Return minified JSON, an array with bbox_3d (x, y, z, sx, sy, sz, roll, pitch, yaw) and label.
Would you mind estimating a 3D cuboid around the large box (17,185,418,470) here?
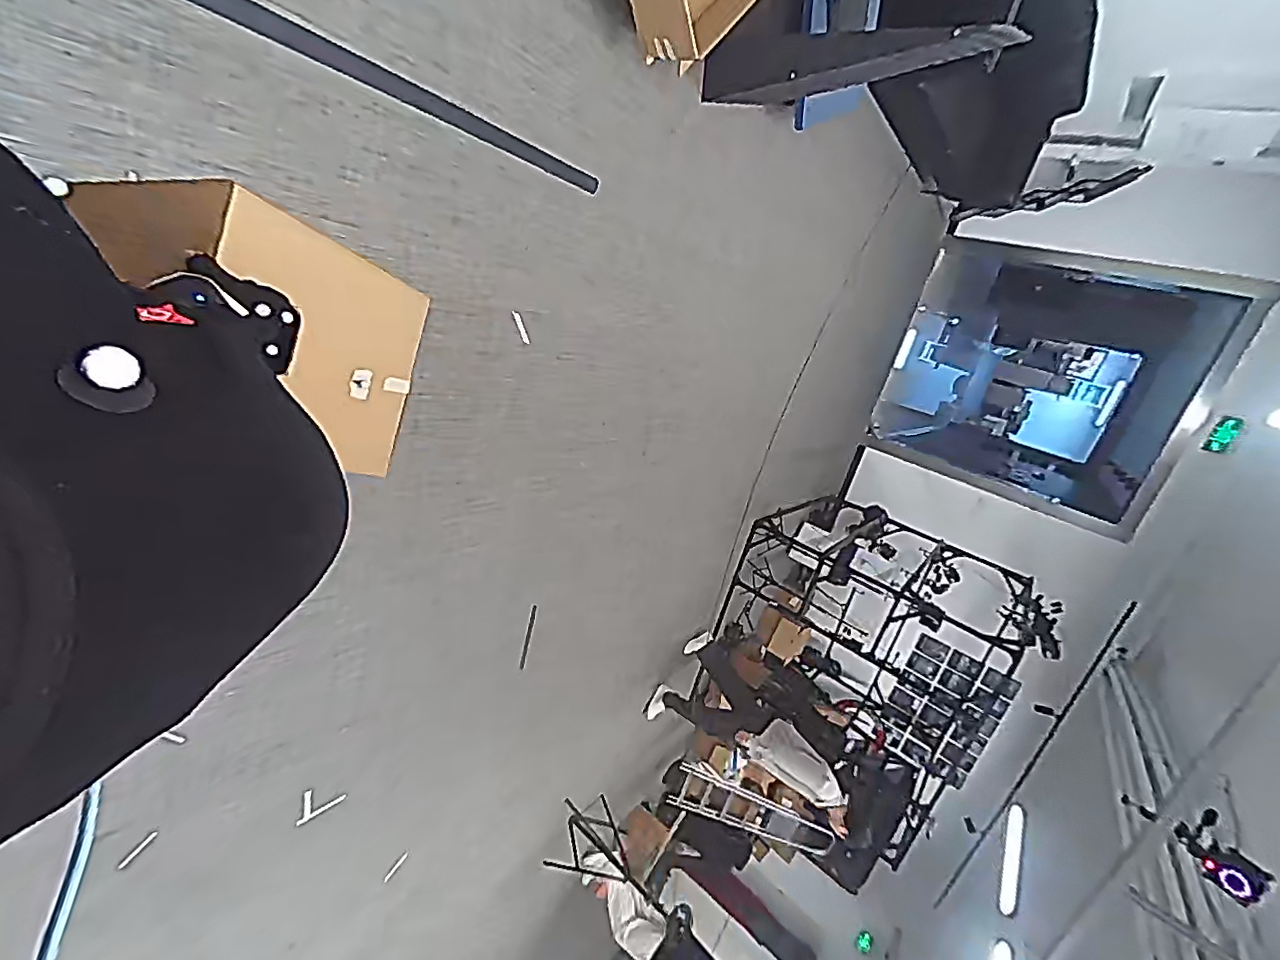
[{"bbox_3d":[-0.623,-0.209,0.830,0.320,0.408,0.320,16,86,-66],"label":"large box"}]
